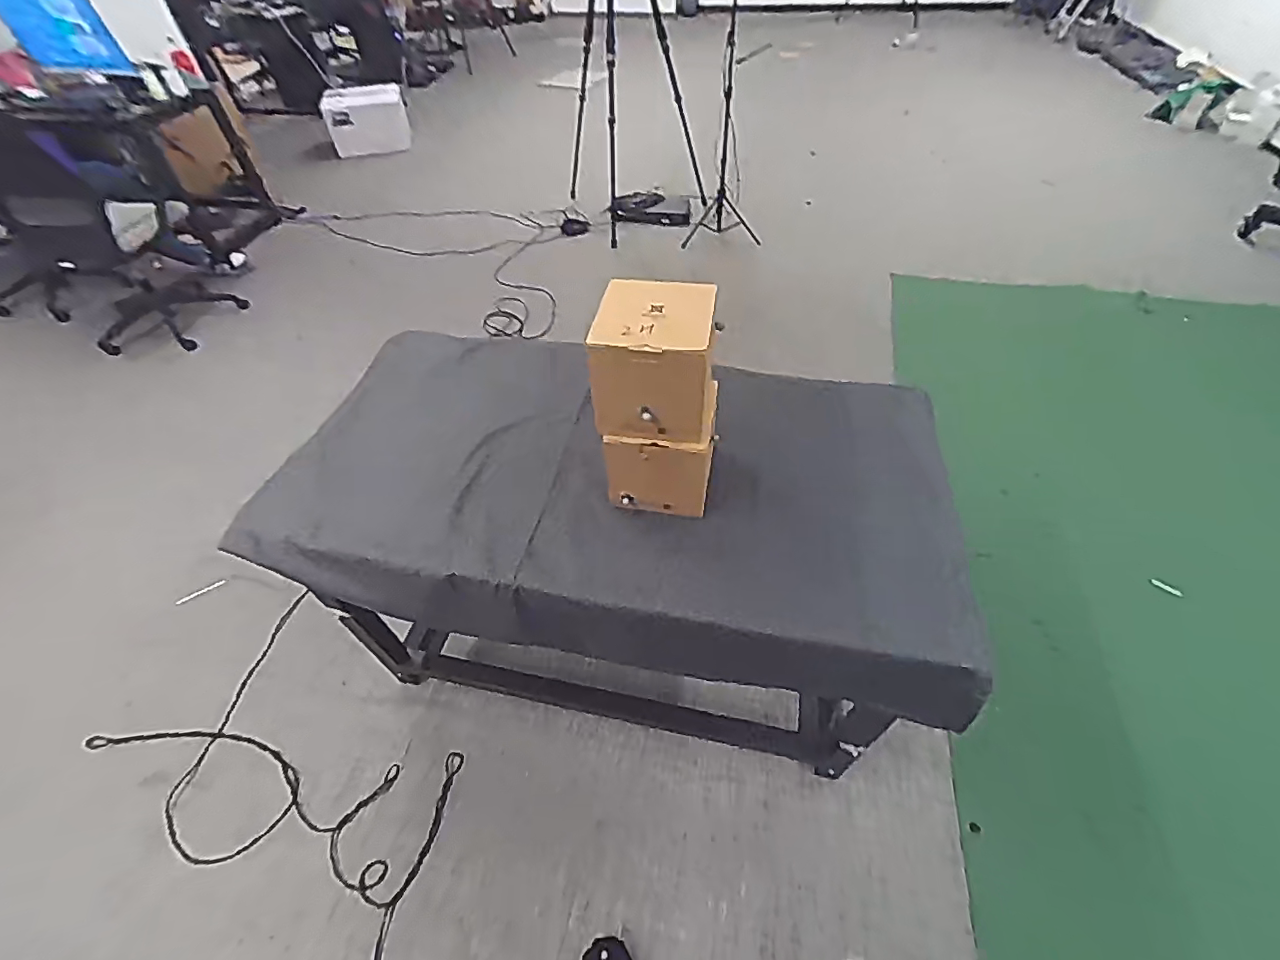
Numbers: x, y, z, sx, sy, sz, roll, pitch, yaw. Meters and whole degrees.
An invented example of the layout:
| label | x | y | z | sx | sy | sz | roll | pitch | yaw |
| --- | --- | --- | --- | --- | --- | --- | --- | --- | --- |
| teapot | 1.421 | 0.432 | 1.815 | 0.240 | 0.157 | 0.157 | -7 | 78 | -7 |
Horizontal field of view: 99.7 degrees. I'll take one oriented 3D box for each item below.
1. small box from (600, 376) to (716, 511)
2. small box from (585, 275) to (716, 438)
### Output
| label | x | y | z | sx | sy | sz | roll | pitch | yaw |
| --- | --- | --- | --- | --- | --- | --- | --- | --- | --- |
| small box | 0.038 | -0.067 | 0.936 | 0.168 | 0.176 | 0.179 | 7 | 49 | 9 |
| small box | 0.022 | -0.187 | 0.823 | 0.168 | 0.176 | 0.179 | 6 | 51 | 8 |
